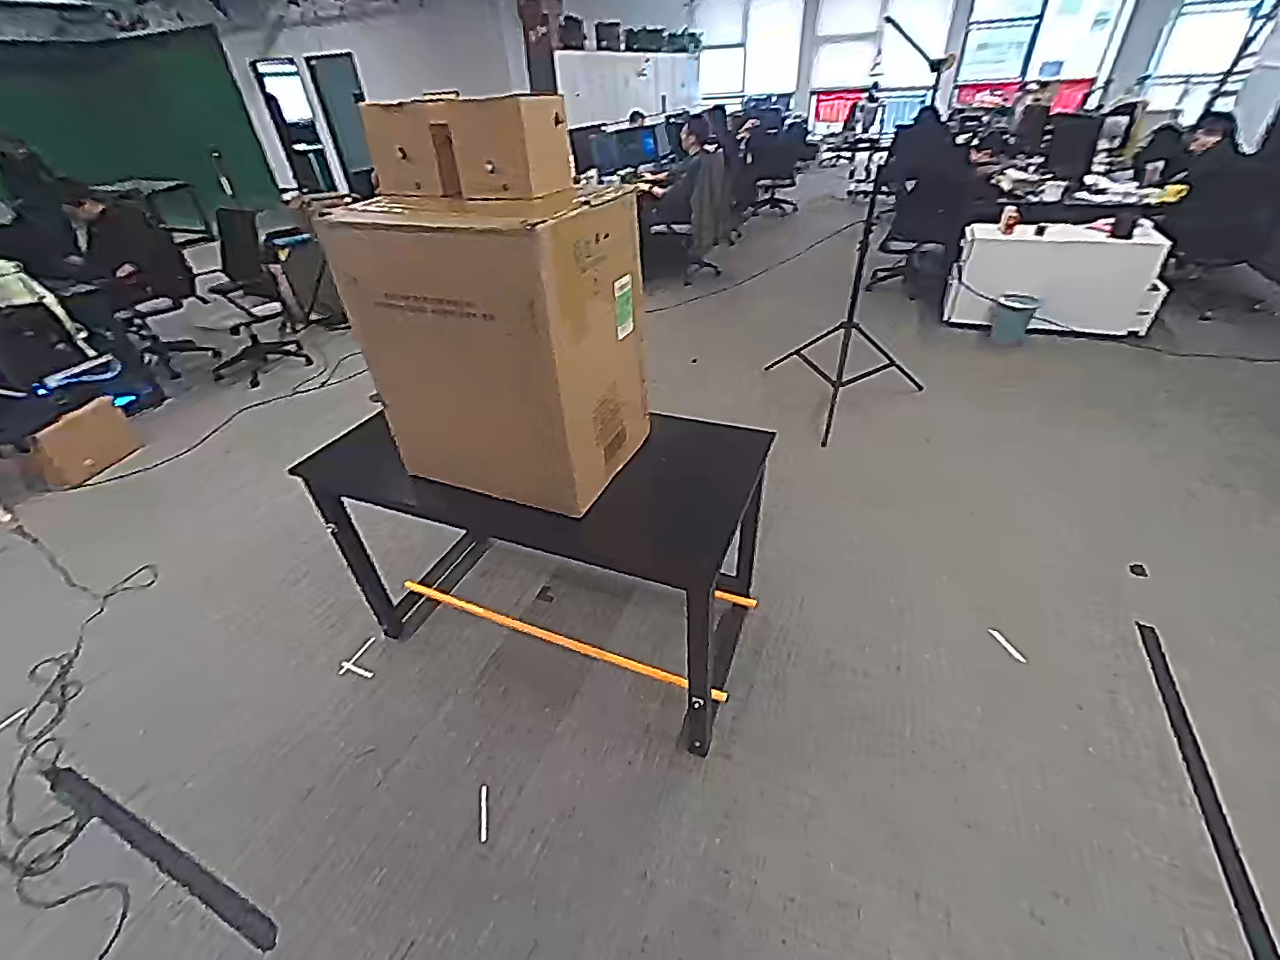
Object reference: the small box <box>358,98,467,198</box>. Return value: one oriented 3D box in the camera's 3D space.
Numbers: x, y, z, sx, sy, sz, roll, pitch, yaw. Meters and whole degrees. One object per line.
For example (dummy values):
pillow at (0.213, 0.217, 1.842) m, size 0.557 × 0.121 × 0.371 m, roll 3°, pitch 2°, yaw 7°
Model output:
small box at (-0.459, -0.718, 1.170) m, size 0.168 × 0.176 × 0.179 m, roll 10°, pitch 38°, yaw 17°

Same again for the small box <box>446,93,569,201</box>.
small box at (-0.253, -0.669, 1.086) m, size 0.168 × 0.176 × 0.179 m, roll 10°, pitch 37°, yaw 19°
